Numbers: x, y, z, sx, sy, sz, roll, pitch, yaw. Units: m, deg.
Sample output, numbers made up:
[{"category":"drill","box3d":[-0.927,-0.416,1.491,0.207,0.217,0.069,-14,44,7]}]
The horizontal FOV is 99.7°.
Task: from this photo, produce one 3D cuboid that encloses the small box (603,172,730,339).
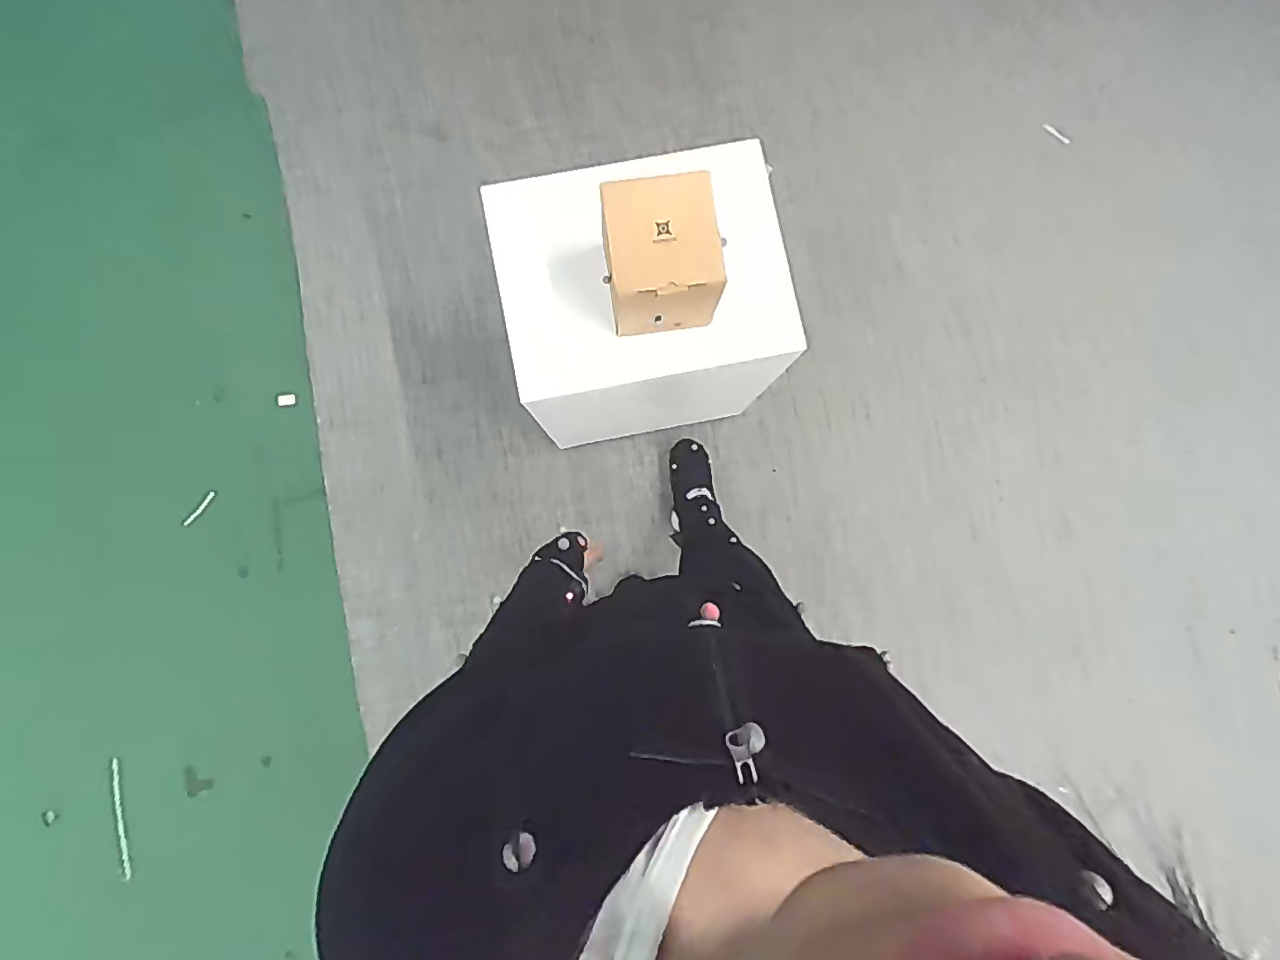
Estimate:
[{"category":"small box","box3d":[0.033,-0.342,0.850,0.168,0.176,0.179,-9,84,-2]}]
